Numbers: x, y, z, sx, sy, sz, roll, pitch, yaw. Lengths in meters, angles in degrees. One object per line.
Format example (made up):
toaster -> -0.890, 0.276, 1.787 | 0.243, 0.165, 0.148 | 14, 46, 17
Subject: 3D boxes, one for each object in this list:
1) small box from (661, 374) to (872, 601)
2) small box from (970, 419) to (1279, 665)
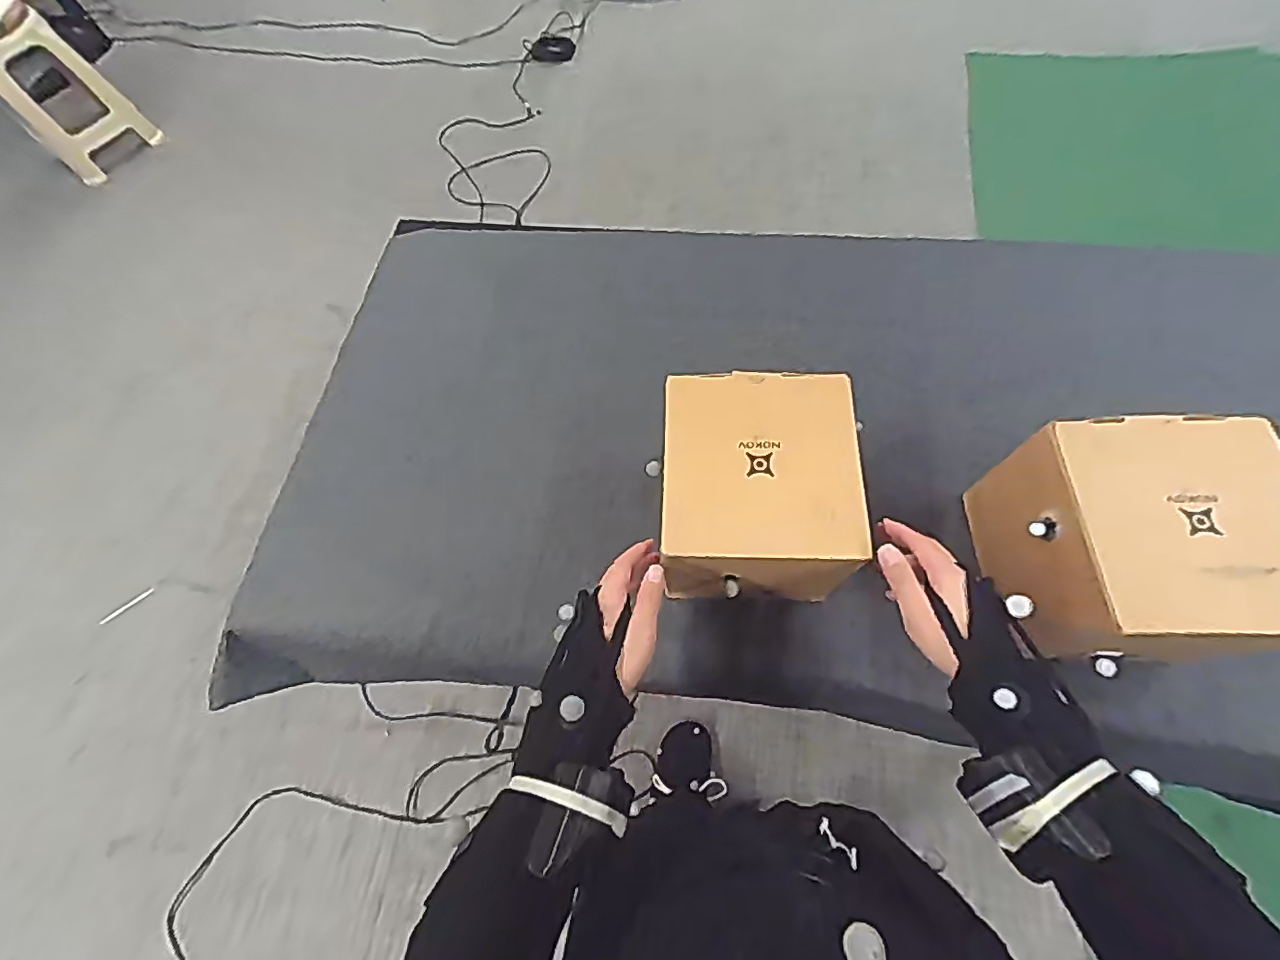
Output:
small box -> 0.110, 0.016, 0.528 | 0.168, 0.176, 0.179 | 1, 65, 5
small box -> 0.428, 0.063, 0.481 | 0.168, 0.176, 0.179 | -1, 66, 5
